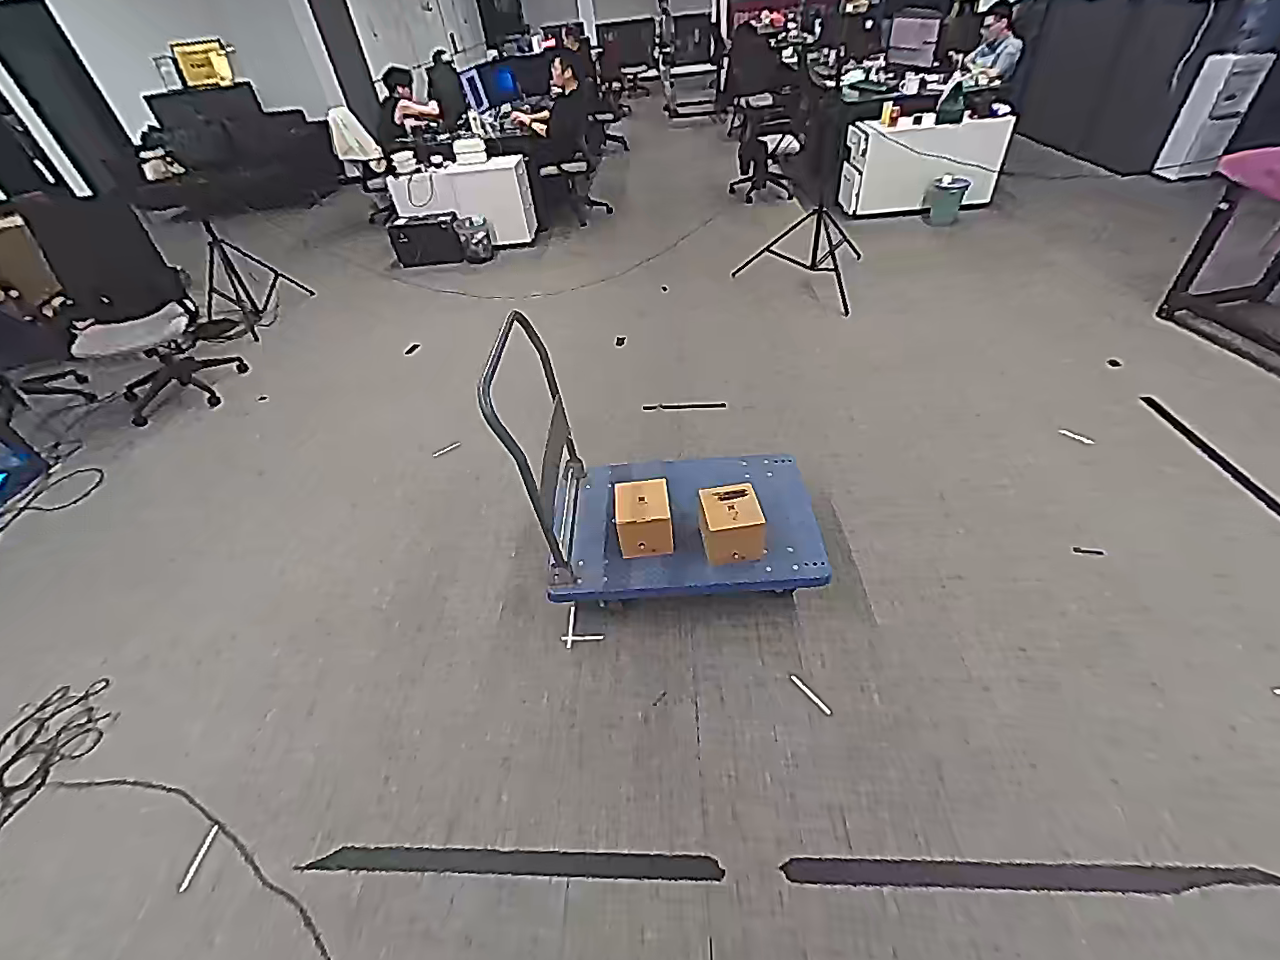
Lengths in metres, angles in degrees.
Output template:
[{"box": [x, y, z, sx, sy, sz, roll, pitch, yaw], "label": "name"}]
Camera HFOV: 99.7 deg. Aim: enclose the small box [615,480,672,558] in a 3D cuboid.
[{"box": [0.011, 0.125, 1.718, 0.168, 0.176, 0.179, -6, 43, 0], "label": "small box"}]
